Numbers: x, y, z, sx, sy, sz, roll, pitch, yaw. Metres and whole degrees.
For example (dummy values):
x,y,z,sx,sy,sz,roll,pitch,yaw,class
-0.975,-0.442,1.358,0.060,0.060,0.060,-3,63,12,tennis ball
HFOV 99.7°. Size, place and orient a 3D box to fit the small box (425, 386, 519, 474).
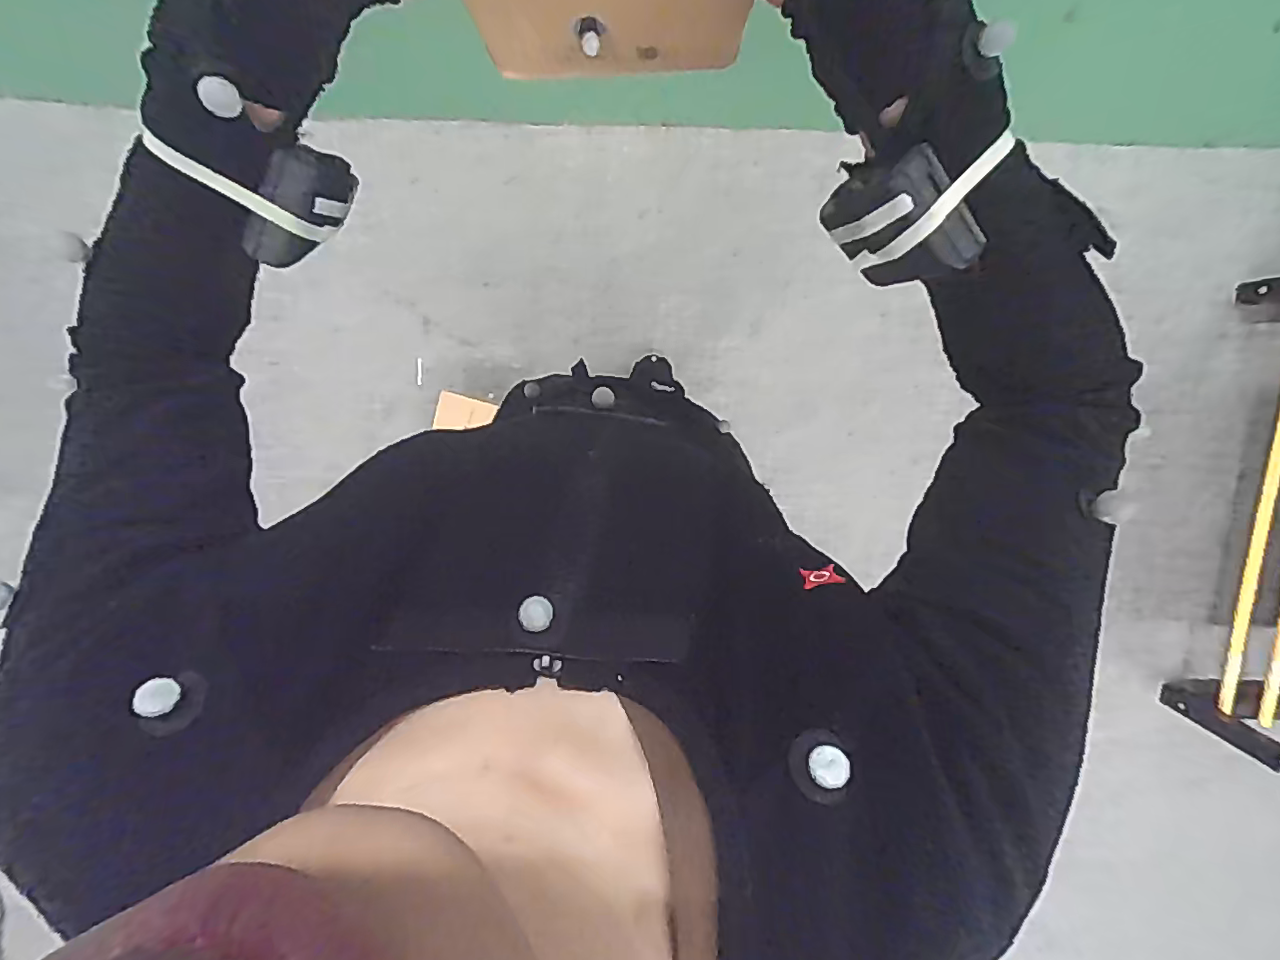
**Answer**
x,y,z,sx,sy,sz,roll,pitch,yaw,class
-0.417,-0.130,1.367,0.168,0.176,0.179,16,98,-3,small box
